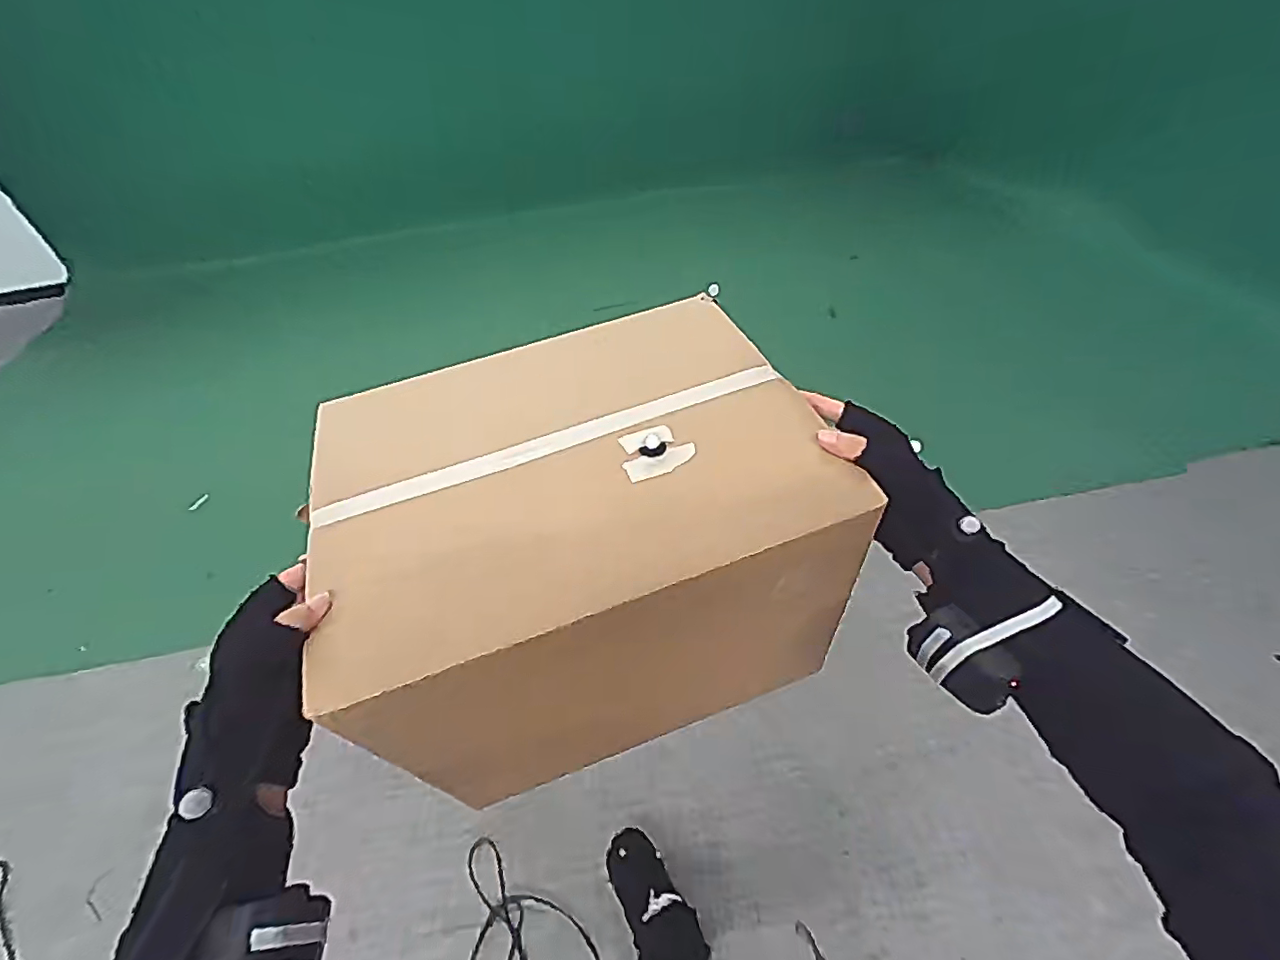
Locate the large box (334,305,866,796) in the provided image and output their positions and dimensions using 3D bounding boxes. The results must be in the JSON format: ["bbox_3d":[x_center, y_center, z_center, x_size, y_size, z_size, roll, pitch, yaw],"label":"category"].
[{"bbox_3d":[-0.050,0.070,0.581,0.408,0.320,0.320,-19,51,-10],"label":"large box"}]
